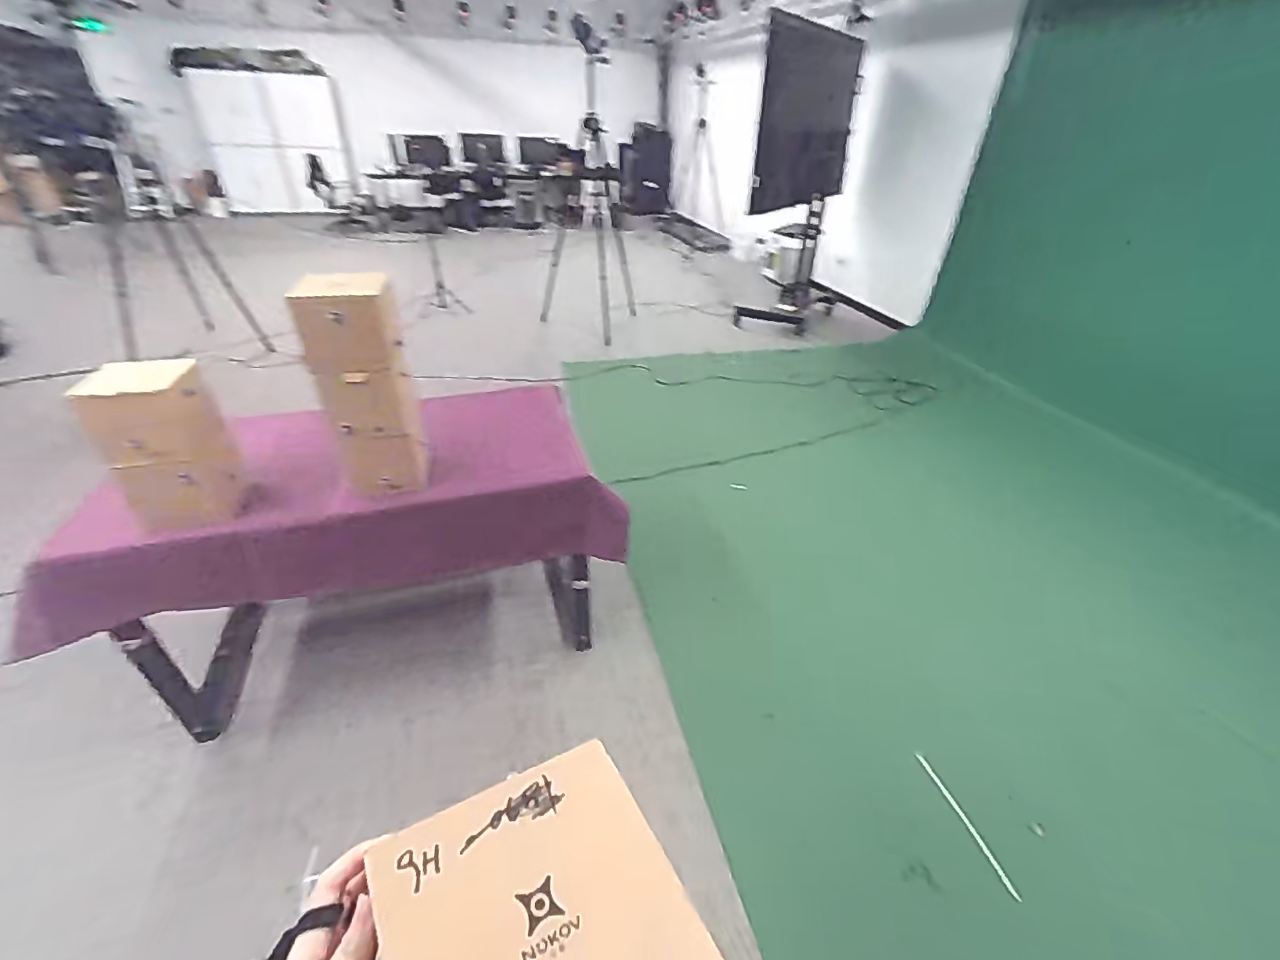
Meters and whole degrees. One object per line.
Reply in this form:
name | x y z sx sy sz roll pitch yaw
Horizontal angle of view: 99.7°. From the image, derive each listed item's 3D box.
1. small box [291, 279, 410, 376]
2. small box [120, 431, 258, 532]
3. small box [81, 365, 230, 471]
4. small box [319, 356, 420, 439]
small box | -0.631 -0.338 1.201 0.179 0.176 0.168 -5 36 -10
small box | -1.040 0.002 1.270 0.179 0.176 0.168 -8 34 -13
small box | -1.042 -0.138 1.187 0.168 0.176 0.179 -7 35 -13
small box | -0.637 -0.206 1.297 0.168 0.176 0.179 -6 34 -11
